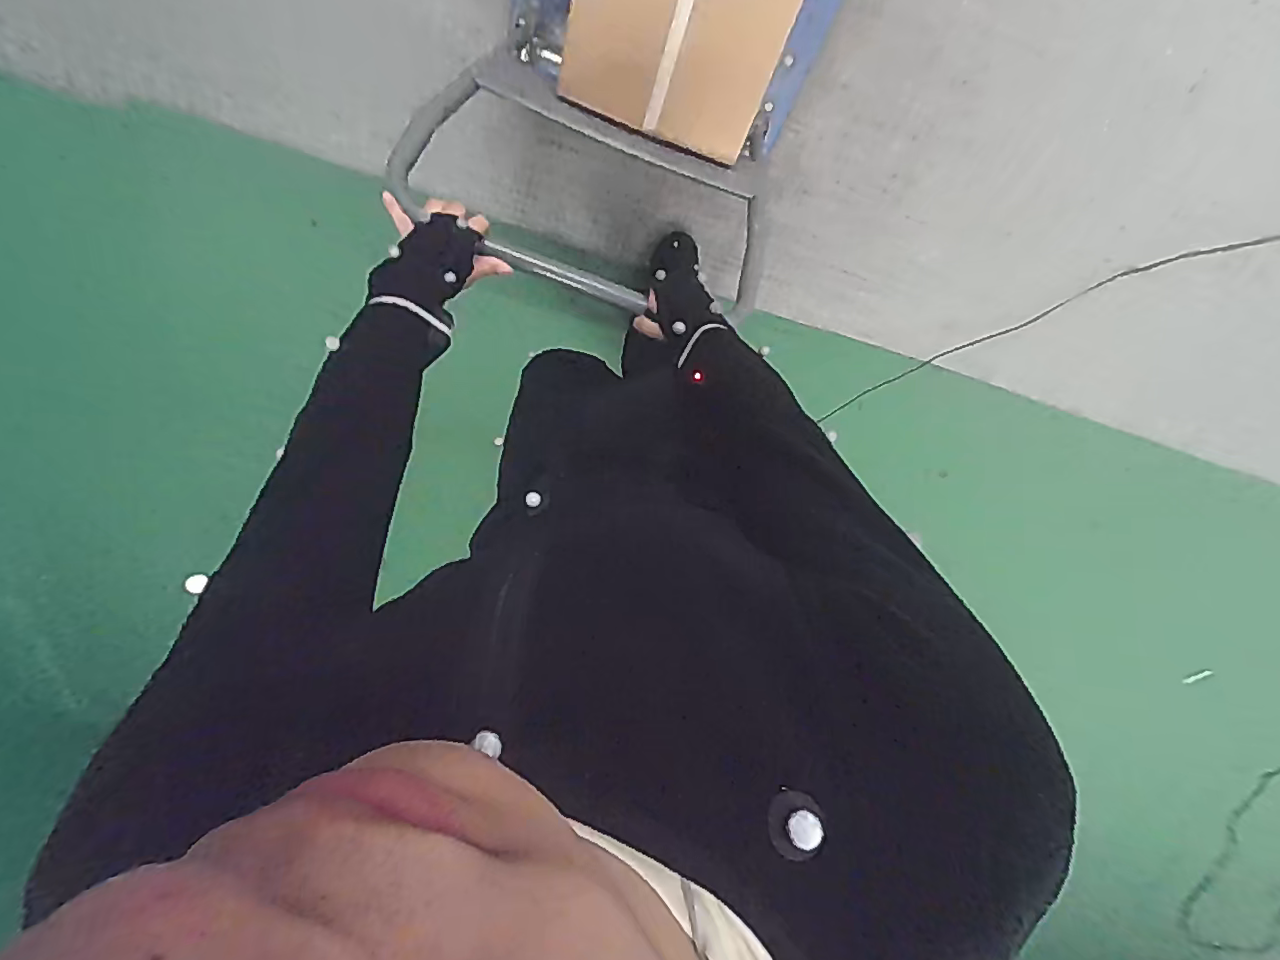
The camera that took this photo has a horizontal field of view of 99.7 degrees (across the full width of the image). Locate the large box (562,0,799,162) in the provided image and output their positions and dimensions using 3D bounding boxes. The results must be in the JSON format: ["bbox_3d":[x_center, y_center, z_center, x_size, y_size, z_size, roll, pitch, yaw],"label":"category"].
[{"bbox_3d":[0.094,-0.816,0.866,0.320,0.320,0.408,18,136,-8],"label":"large box"}]
